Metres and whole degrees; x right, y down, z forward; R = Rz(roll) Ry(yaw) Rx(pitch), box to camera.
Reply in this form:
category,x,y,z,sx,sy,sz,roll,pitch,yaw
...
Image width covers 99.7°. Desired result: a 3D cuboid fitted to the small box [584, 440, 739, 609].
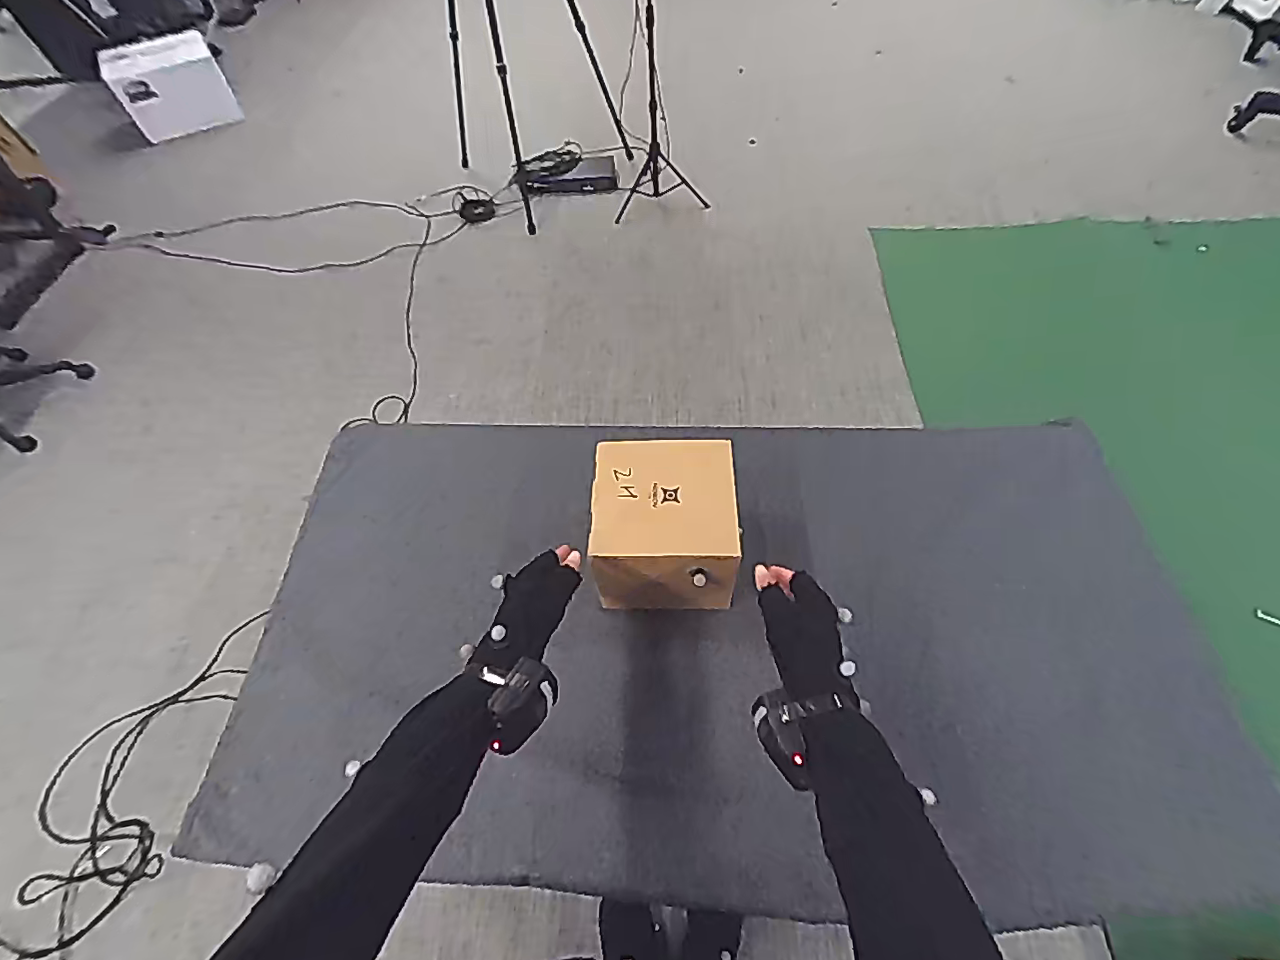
category,x,y,z,sx,sy,sz,roll,pitch,yaw
small box,0.029,0.063,0.714,0.179,0.176,0.168,-1,56,4
